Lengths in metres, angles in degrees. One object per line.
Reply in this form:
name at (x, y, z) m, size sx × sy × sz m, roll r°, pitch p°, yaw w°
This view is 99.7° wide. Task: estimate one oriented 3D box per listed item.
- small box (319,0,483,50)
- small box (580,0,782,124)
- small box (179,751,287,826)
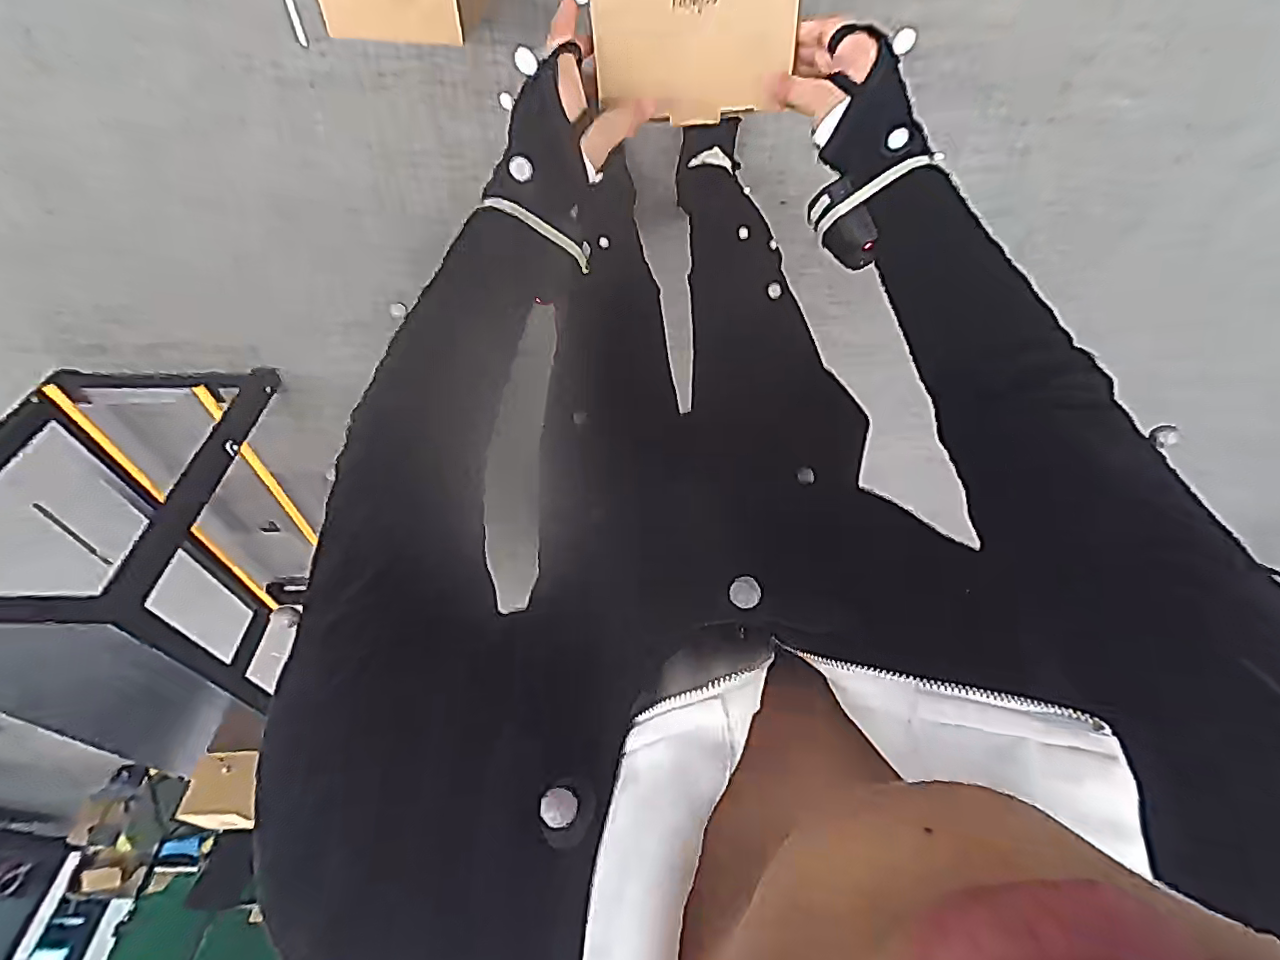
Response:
small box at (-0.299, -0.660, 0.662) m, size 0.168 × 0.176 × 0.179 m, roll 1°, pitch 141°, yaw -2°
small box at (0.032, -0.446, 0.485) m, size 0.168 × 0.176 × 0.179 m, roll -4°, pitch 134°, yaw 1°
small box at (-1.210, 0.930, 1.628) m, size 0.168 × 0.176 × 0.179 m, roll -1°, pitch 139°, yaw -1°
